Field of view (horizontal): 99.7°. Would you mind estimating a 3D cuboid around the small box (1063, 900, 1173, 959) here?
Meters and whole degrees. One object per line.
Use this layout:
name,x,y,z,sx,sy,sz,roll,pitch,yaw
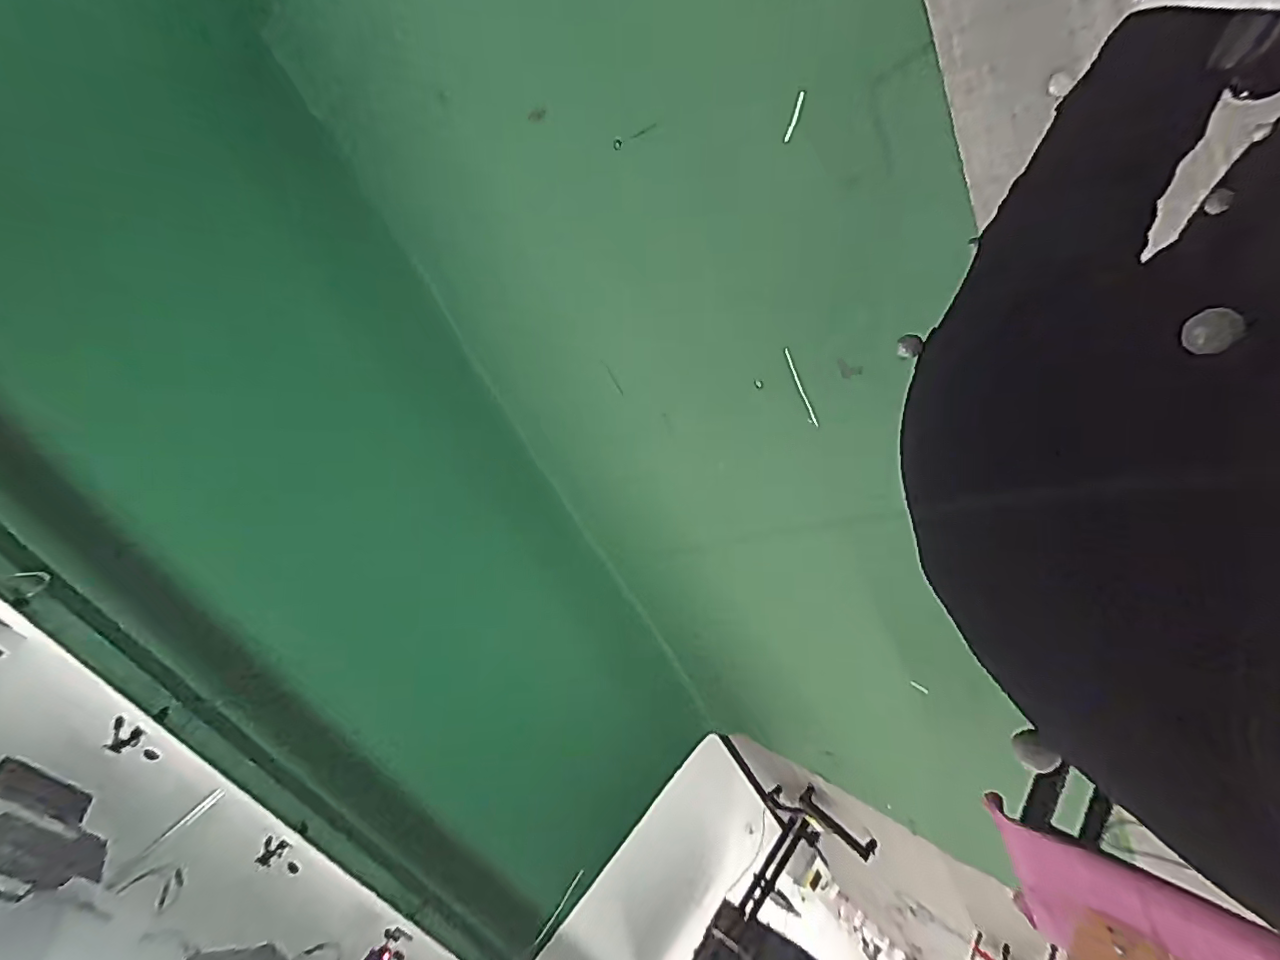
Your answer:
small box,1.136,1.159,1.277,0.168,0.176,0.179,1,128,54
